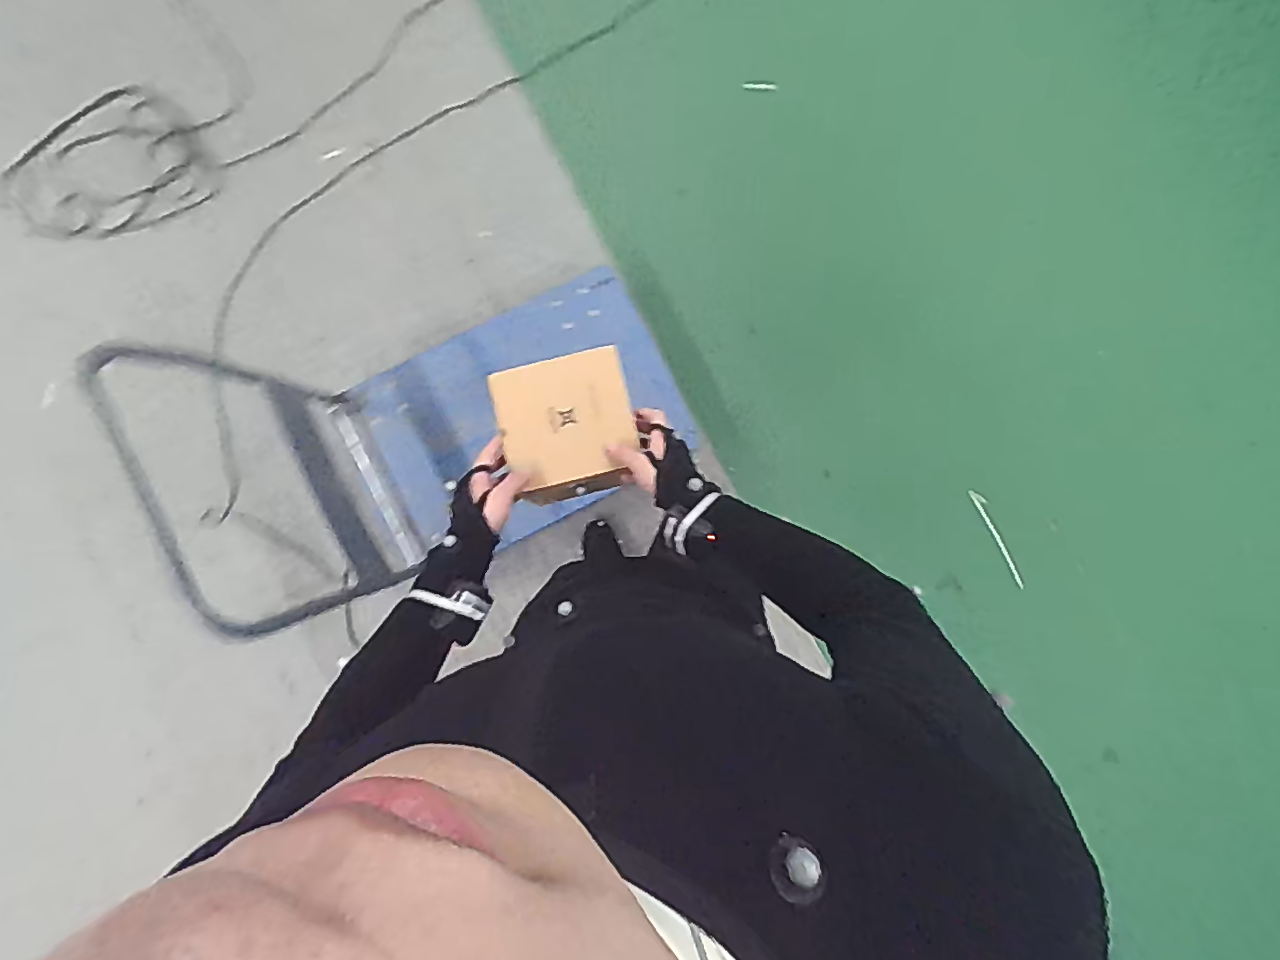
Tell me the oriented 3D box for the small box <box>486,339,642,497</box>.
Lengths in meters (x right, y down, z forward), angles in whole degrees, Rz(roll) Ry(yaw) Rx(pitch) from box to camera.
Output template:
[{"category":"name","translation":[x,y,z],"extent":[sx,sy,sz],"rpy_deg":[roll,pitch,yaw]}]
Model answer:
[{"category":"small box","translation":[-0.098,-0.077,0.772],"extent":[0.179,0.176,0.168],"rpy_deg":[-12,82,-1]}]
